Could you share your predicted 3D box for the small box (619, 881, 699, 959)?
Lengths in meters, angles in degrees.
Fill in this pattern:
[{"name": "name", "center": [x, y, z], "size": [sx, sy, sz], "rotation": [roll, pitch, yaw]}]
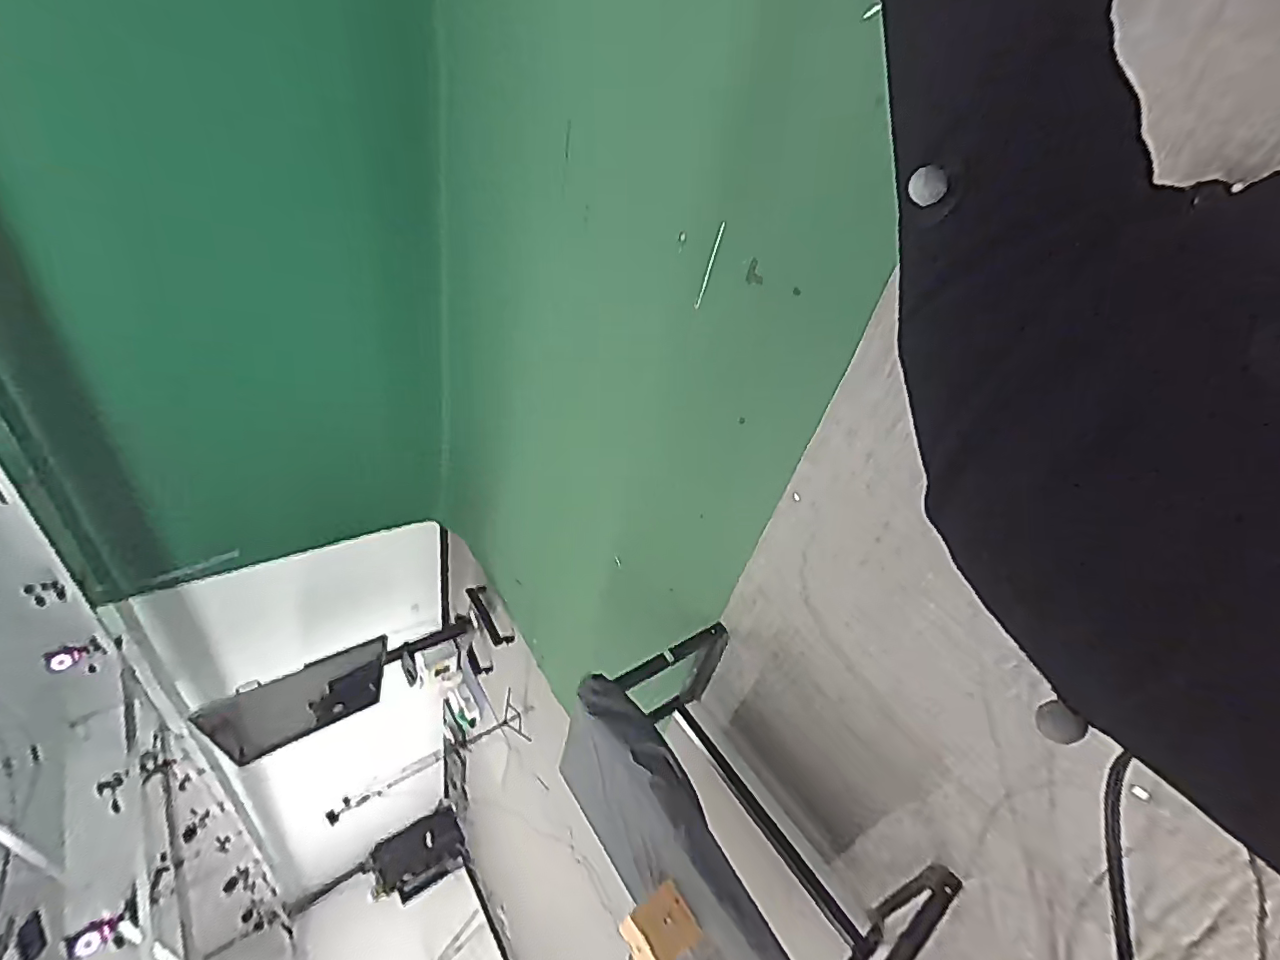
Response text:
[{"name": "small box", "center": [0.061, 1.401, 1.681], "size": [0.168, 0.176, 0.179], "rotation": [45, 135, 34]}]
